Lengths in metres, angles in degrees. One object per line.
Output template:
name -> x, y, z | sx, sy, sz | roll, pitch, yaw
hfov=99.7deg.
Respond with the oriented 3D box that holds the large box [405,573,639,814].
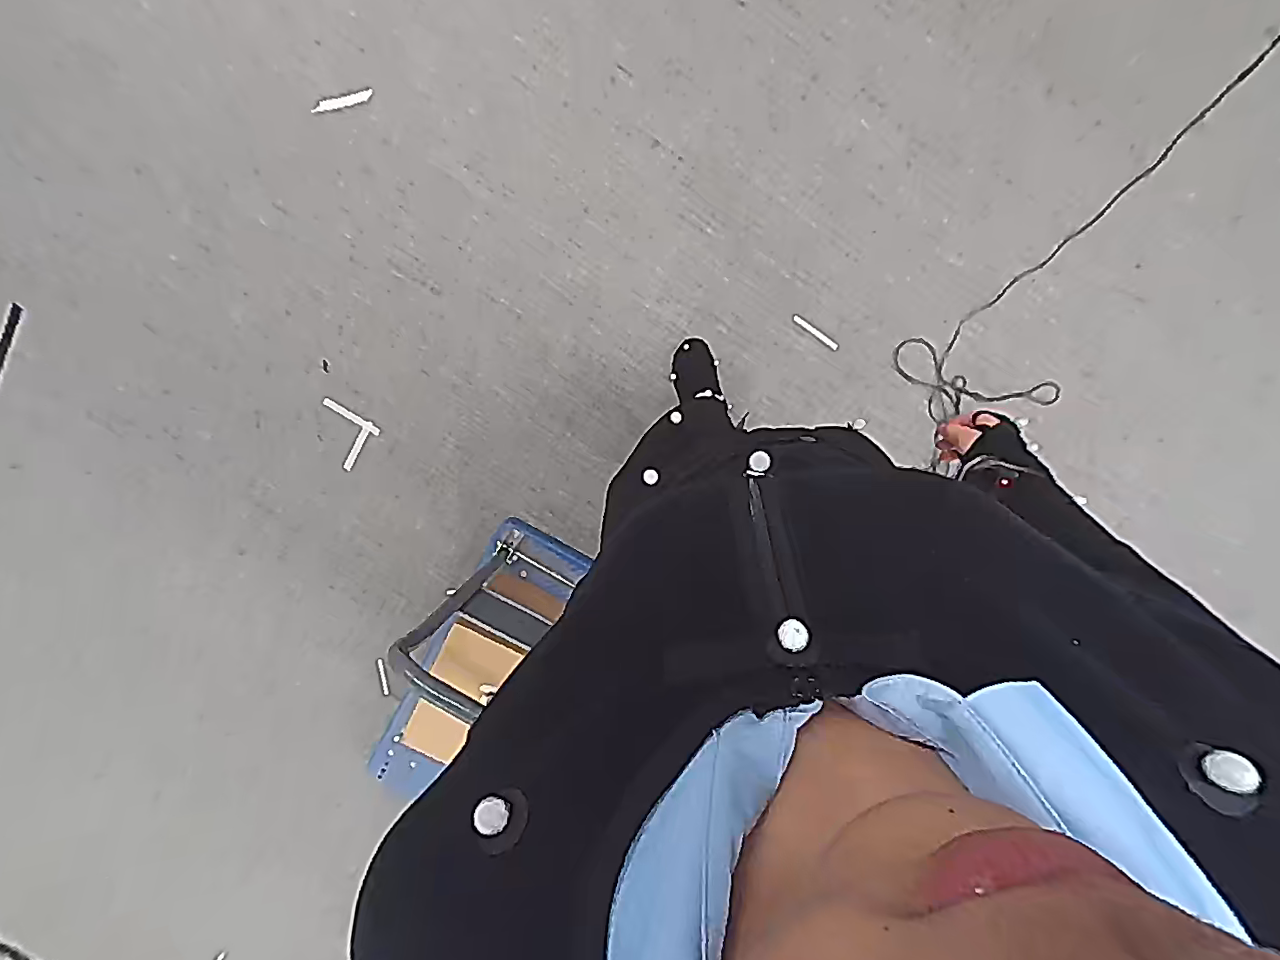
large box -> -0.250, 0.478, 1.276 | 0.408, 0.320, 0.320 | 27, 100, -1
